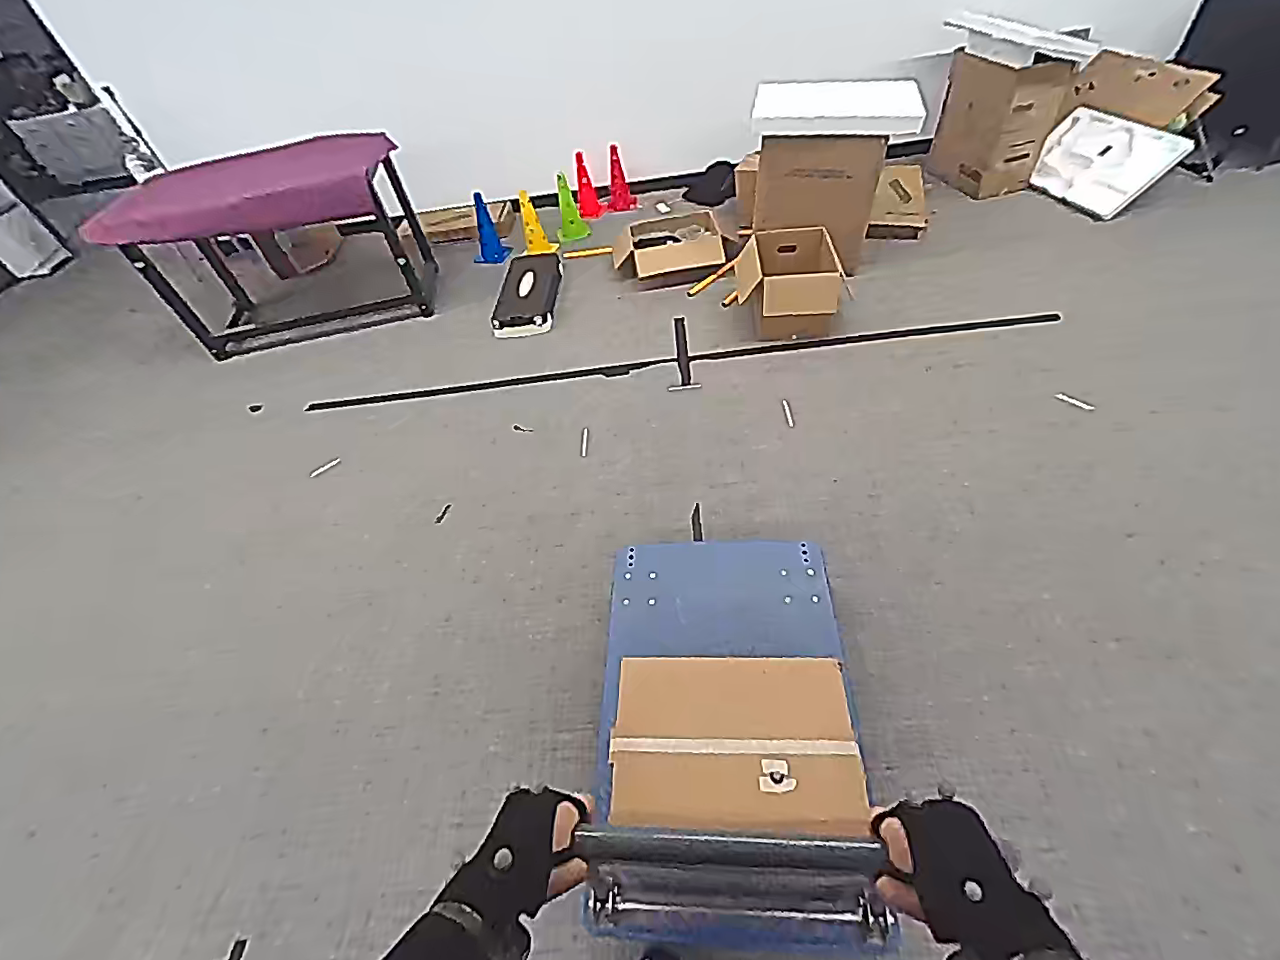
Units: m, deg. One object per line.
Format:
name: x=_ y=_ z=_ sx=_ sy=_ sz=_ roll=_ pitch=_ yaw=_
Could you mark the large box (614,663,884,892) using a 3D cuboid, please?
large box: x=0.173 y=0.553 z=1.001 sx=0.408 sy=0.320 sz=0.320 roll=-2 pitch=49 yaw=6
